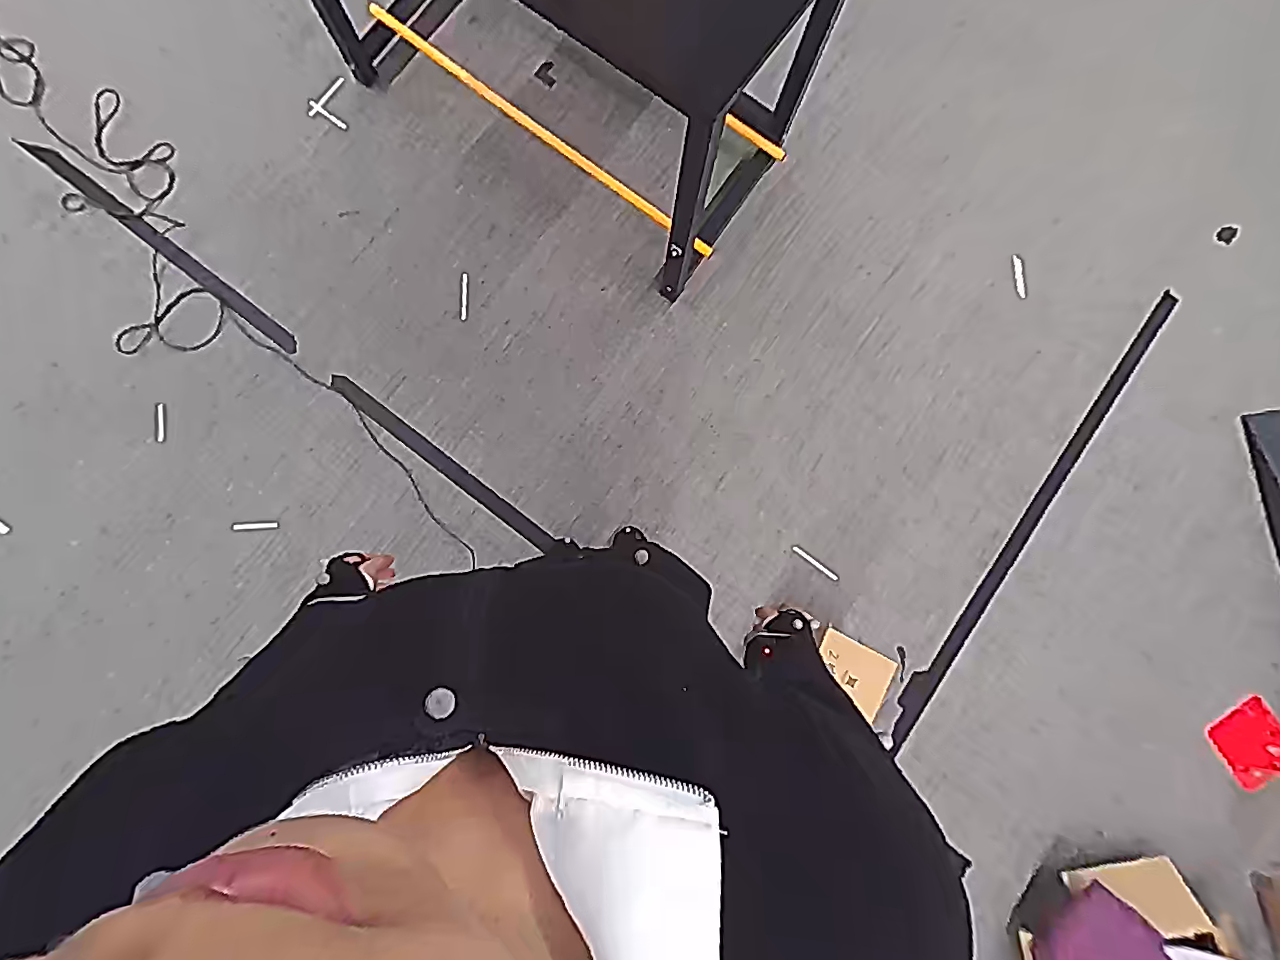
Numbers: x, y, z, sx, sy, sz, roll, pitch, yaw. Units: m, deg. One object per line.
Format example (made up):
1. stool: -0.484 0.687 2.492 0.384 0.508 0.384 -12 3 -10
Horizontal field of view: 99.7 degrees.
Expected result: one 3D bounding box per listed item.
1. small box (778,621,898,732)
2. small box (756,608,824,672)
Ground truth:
1. small box: 0.450 0.443 1.254 0.179 0.176 0.168 28 82 1
2. small box: 0.434 0.452 1.419 0.179 0.176 0.168 33 82 3
